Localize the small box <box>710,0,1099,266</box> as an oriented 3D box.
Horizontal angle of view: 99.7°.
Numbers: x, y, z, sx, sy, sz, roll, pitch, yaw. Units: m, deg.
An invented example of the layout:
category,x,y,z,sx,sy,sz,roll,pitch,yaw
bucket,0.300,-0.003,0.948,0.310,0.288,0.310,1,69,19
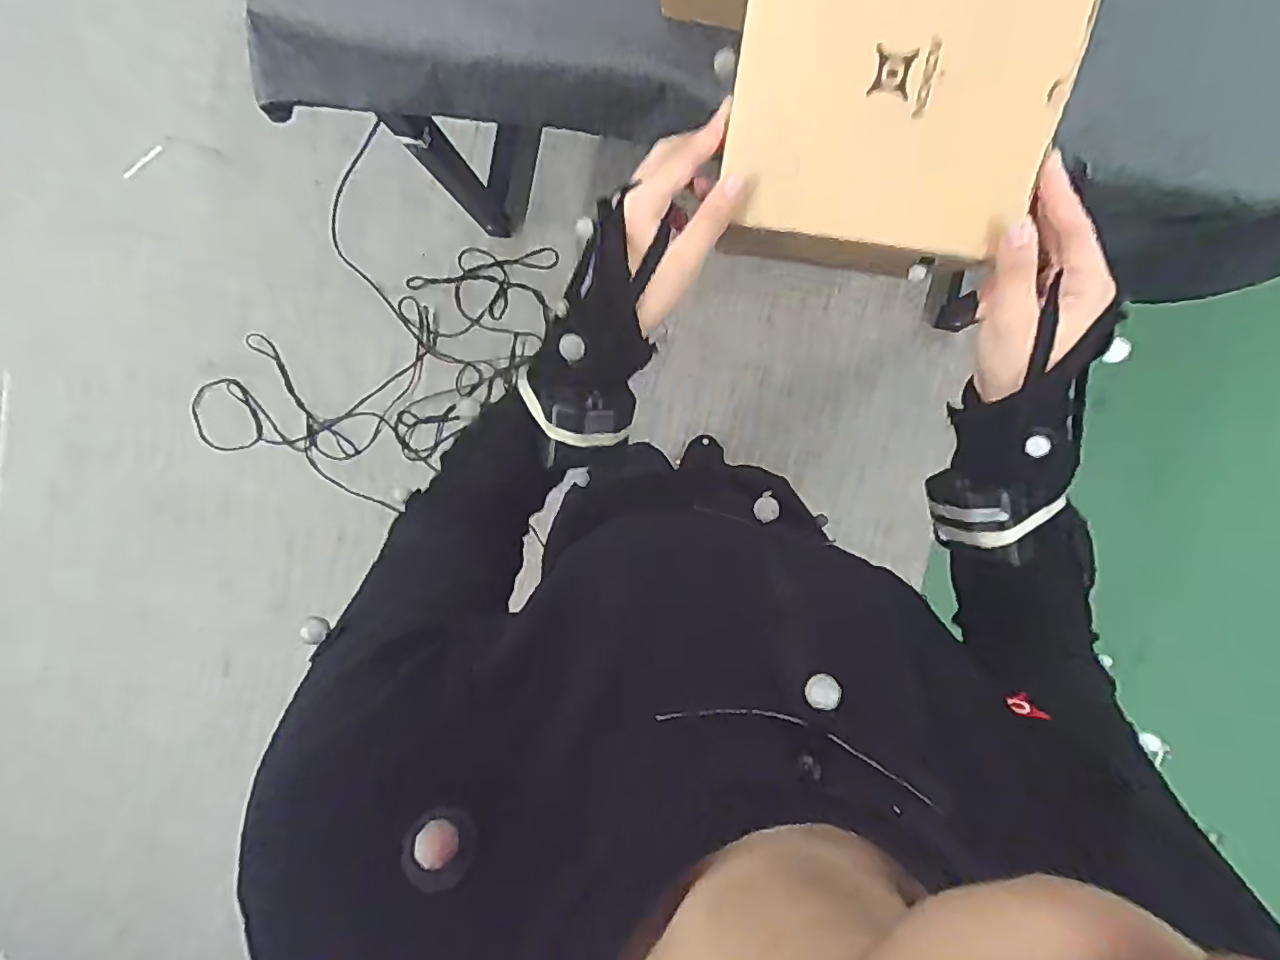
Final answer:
category,x,y,z,sx,sy,sz,roll,pitch,yaw
small box,0.145,-0.243,0.358,0.179,0.176,0.168,8,108,2
